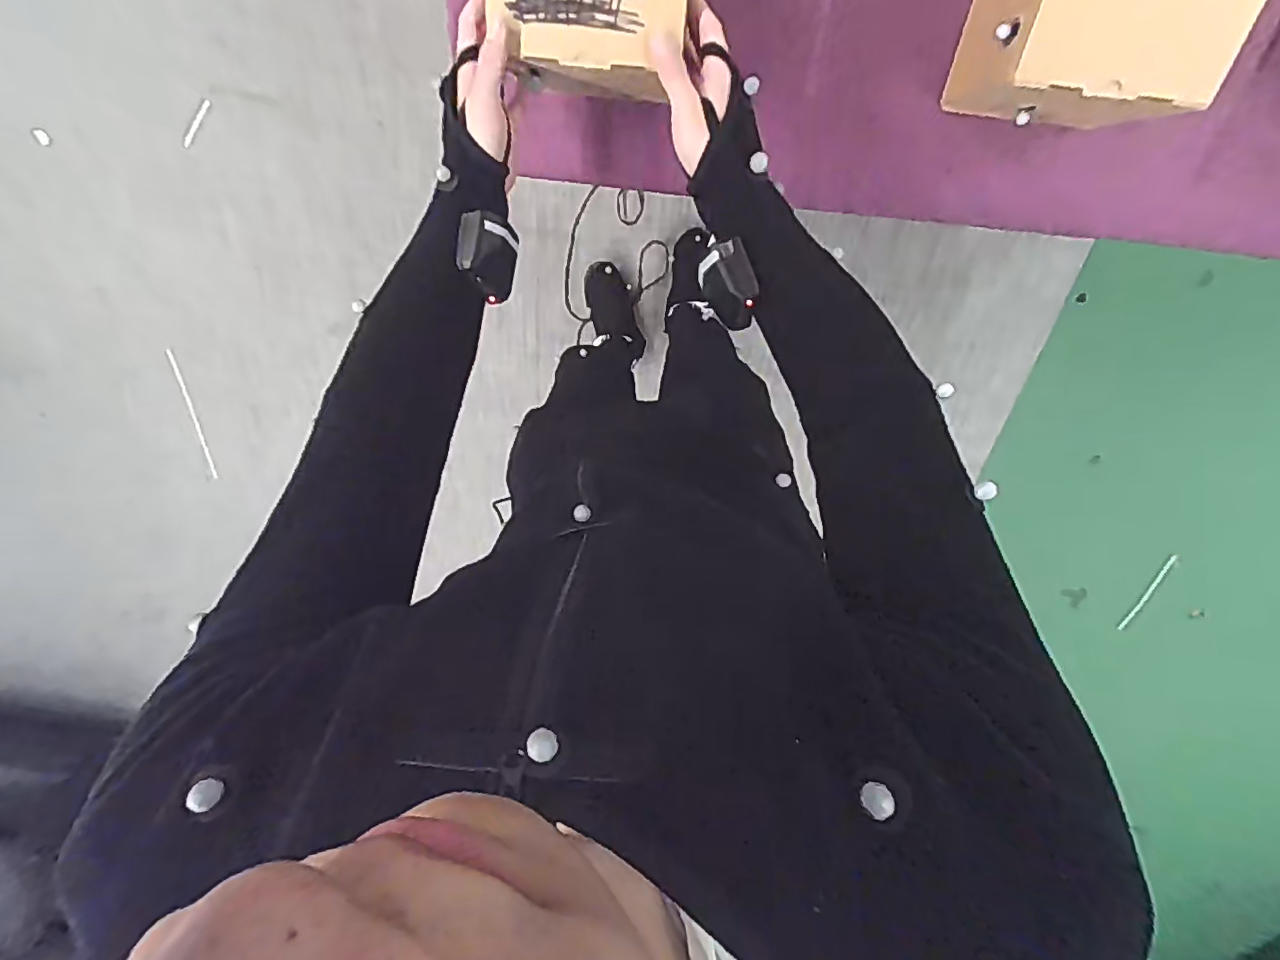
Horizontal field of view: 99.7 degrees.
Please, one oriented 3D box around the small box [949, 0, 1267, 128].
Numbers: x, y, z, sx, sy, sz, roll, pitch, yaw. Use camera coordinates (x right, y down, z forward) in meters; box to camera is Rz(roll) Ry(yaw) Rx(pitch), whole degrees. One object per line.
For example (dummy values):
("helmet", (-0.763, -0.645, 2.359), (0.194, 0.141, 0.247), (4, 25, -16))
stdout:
("small box", (0.413, -0.434, 0.483), (0.168, 0.176, 0.179), (9, 120, 2))
